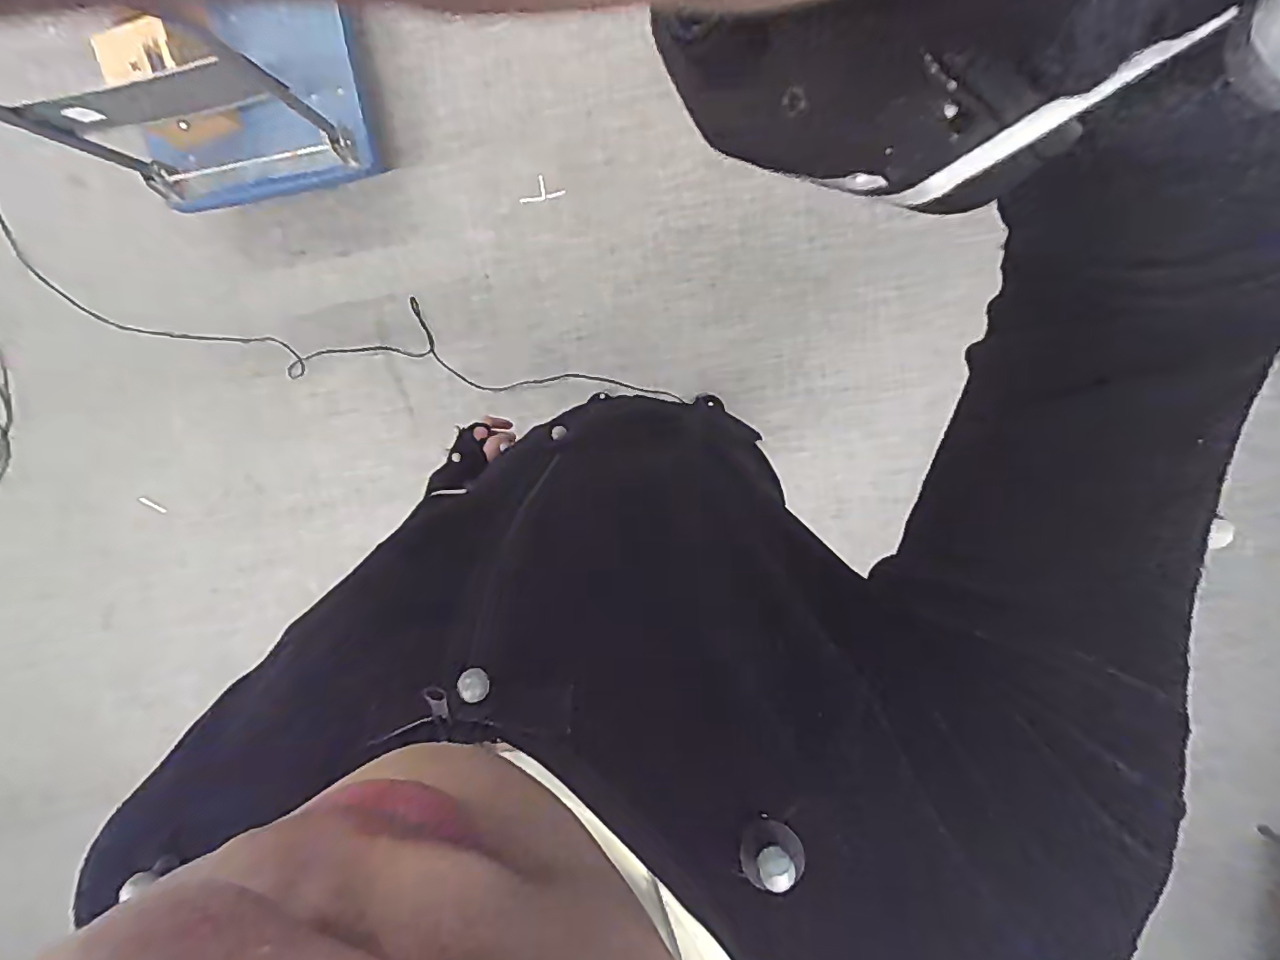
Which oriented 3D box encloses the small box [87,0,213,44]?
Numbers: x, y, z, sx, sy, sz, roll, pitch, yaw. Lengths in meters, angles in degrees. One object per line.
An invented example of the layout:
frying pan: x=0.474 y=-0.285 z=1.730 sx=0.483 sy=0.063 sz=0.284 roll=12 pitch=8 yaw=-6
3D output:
small box: x=-1.143 y=-1.148 z=1.240 sx=0.179 sy=0.176 sz=0.168 roll=-8 pitch=98 yaw=2
